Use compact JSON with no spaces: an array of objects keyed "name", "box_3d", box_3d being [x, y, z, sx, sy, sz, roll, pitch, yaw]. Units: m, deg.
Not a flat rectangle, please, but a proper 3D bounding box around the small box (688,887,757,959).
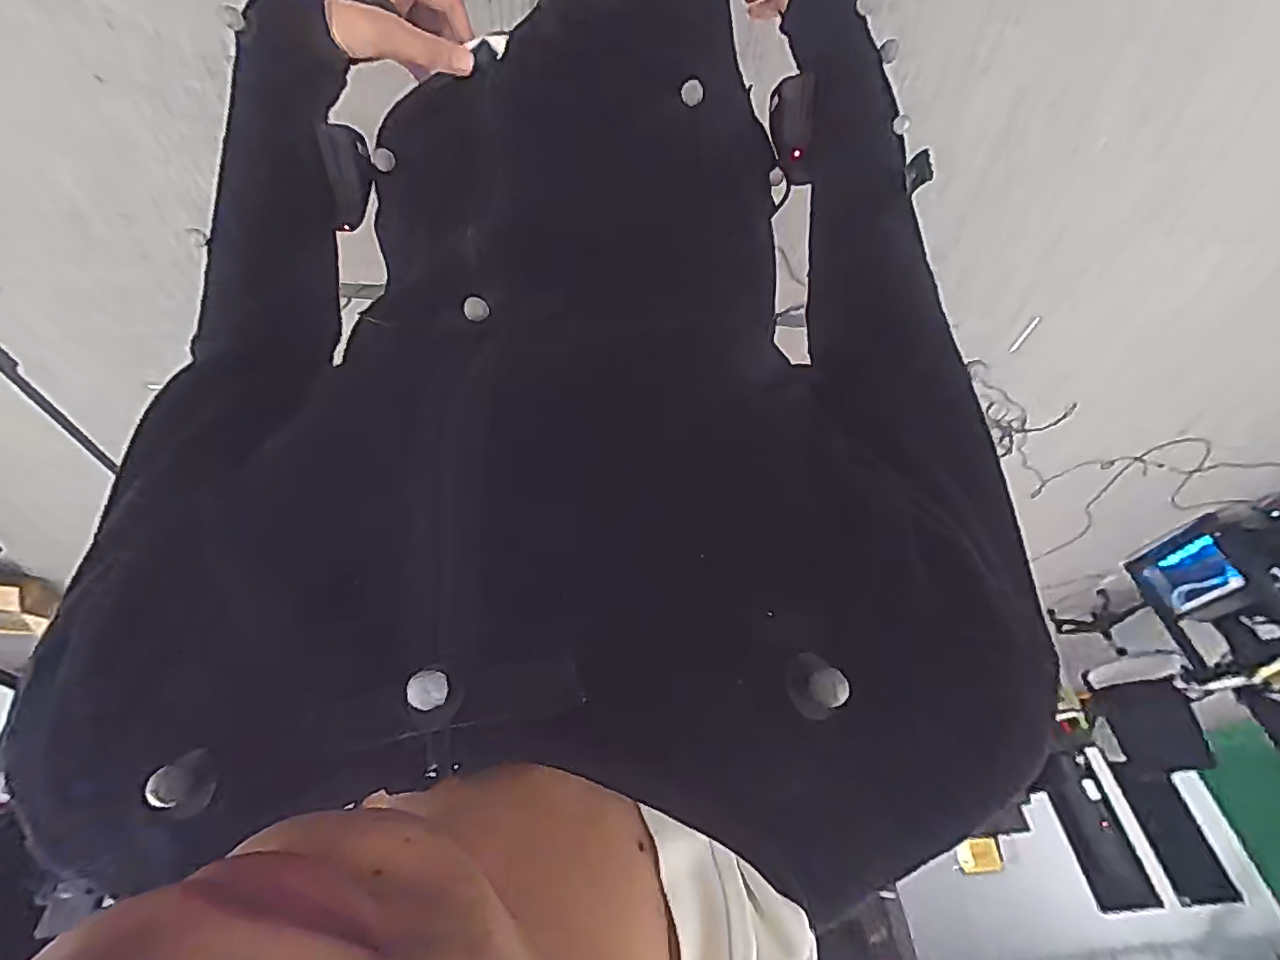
[{"name":"small box","box_3d":[0.263,1.455,1.777,0.179,0.176,0.168,1,142,-8]}]
